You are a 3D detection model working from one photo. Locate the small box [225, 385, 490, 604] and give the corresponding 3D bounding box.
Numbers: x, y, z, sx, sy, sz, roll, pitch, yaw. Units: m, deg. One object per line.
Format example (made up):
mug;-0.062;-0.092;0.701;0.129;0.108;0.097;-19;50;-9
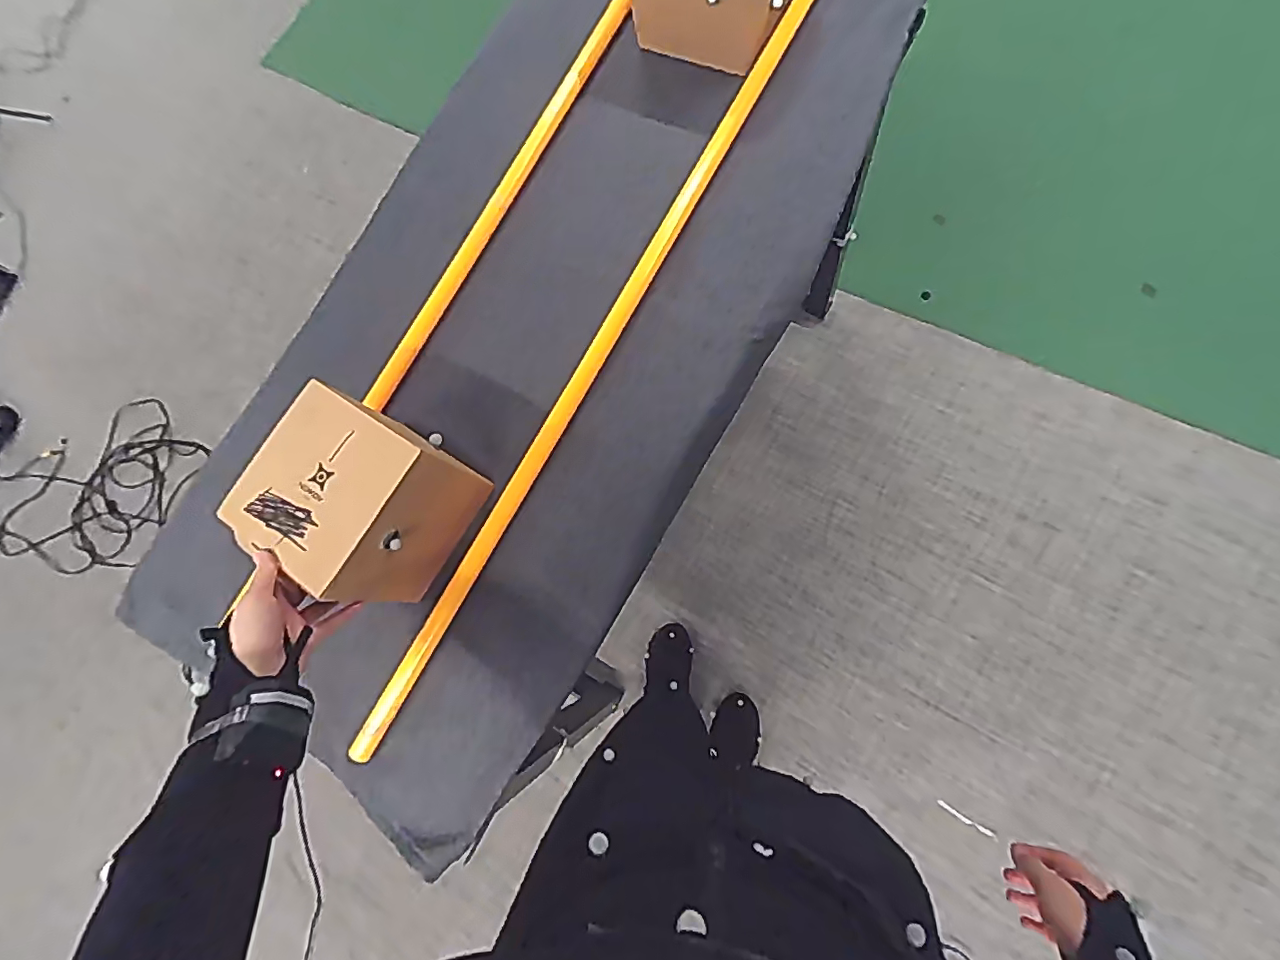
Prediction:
small box;-0.306;0.027;0.624;0.168;0.176;0.179;31;84;15
